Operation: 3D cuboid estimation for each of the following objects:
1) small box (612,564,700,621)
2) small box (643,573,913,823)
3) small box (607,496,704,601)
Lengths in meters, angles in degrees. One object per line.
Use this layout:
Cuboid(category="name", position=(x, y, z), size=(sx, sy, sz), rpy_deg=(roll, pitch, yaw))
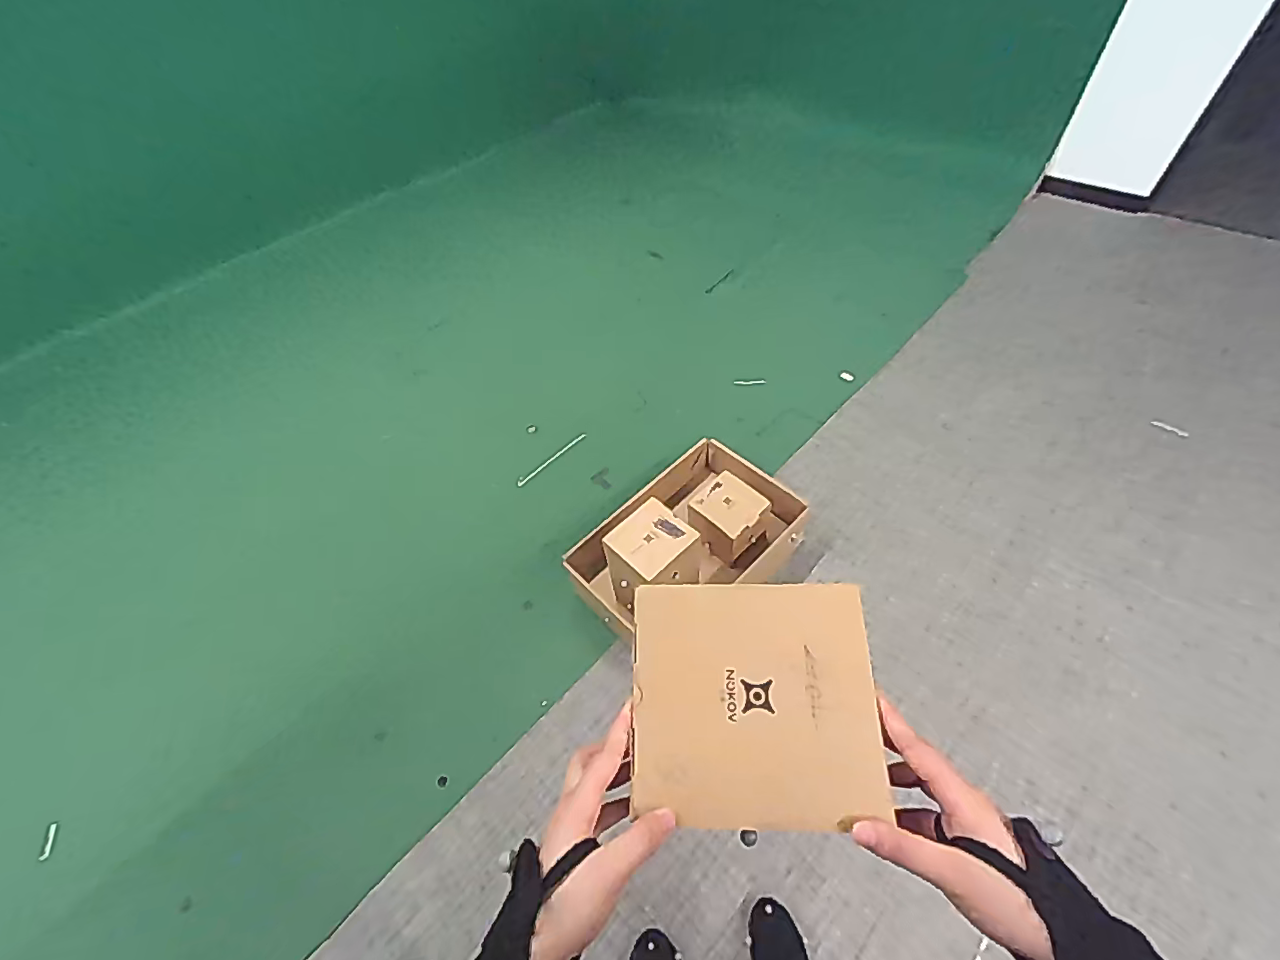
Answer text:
Cuboid(category="small box", position=(0.047, 0.278, 1.468), size=(0.179, 0.176, 0.168), rpy_deg=(-39, 59, -24))
Cuboid(category="small box", position=(0.096, 0.181, 0.456), size=(0.179, 0.176, 0.168), rpy_deg=(-1, 65, 3))
Cuboid(category="small box", position=(0.039, 0.179, 1.336), size=(0.179, 0.176, 0.168), rpy_deg=(-39, 58, -22))
